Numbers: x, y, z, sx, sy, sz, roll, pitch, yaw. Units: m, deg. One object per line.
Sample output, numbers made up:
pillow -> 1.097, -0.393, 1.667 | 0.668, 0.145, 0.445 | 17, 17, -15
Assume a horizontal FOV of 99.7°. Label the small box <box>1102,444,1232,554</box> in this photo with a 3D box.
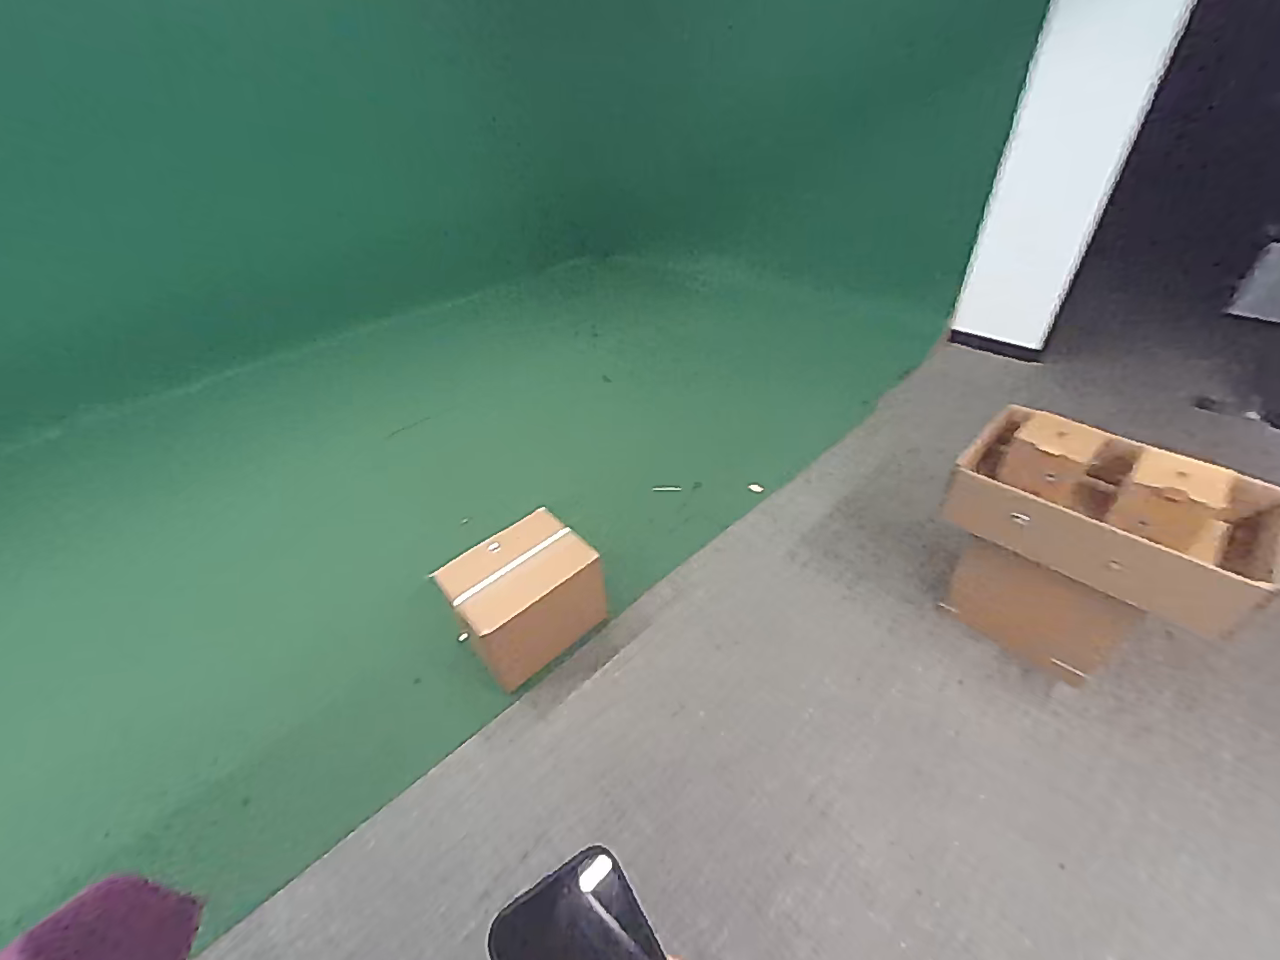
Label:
small box -> 1.280, 0.045, 1.323 | 0.179, 0.176, 0.168 | -35, 47, -30
